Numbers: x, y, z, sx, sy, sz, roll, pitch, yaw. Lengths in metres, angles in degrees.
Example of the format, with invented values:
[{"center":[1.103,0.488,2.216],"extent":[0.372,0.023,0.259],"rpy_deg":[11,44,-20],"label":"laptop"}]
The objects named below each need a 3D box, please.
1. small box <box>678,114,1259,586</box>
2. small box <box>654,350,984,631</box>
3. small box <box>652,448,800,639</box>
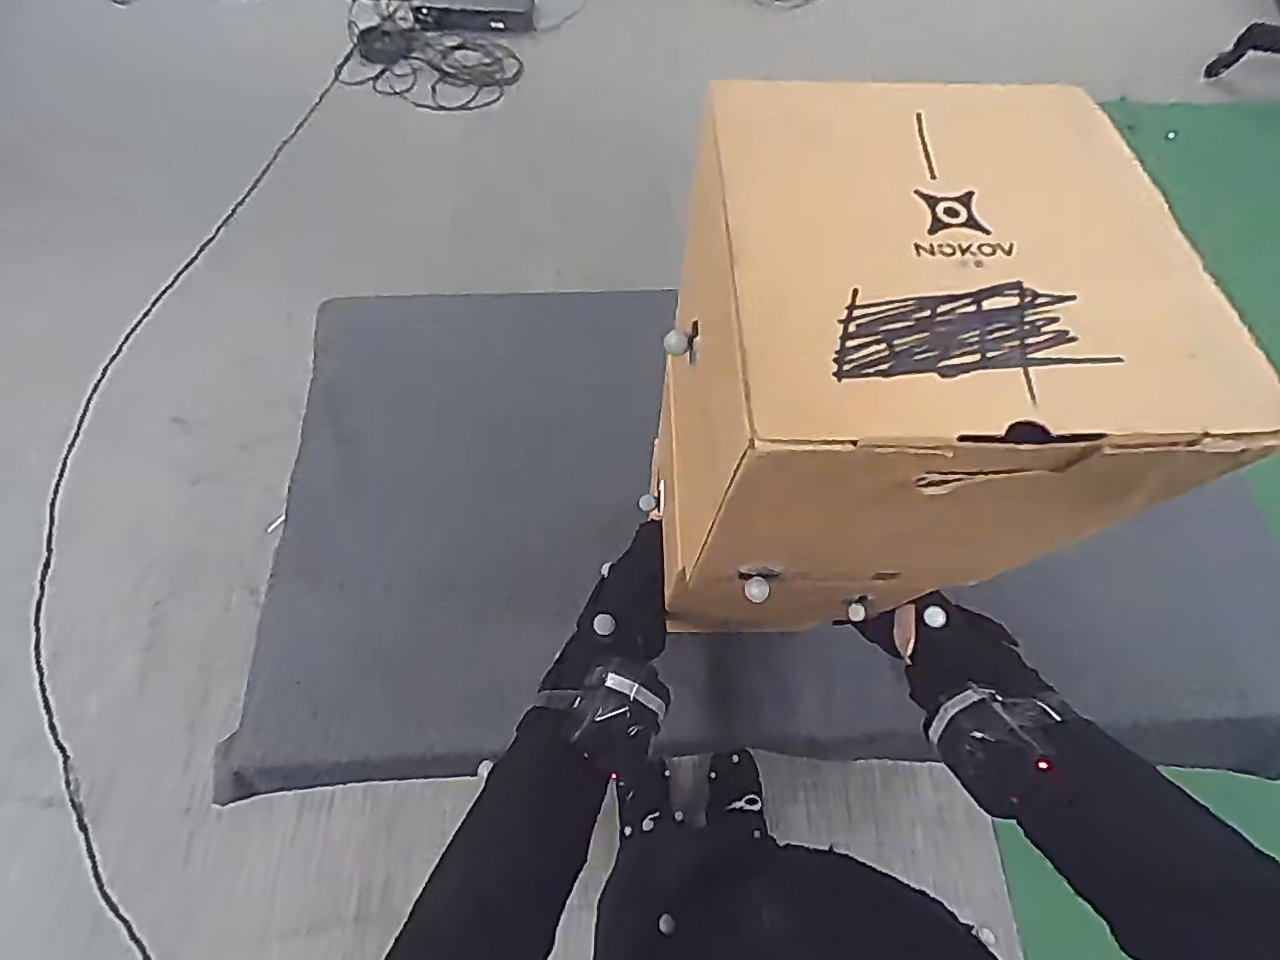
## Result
[{"center":[0.109,-0.048,0.274],"extent":[0.168,0.176,0.179],"rpy_deg":[0,64,-2],"label":"small box"},{"center":[0.109,0.015,0.409],"extent":[0.179,0.176,0.168],"rpy_deg":[-4,66,-4],"label":"small box"},{"center":[0.104,0.070,0.582],"extent":[0.179,0.176,0.168],"rpy_deg":[-3,64,-3],"label":"small box"}]
